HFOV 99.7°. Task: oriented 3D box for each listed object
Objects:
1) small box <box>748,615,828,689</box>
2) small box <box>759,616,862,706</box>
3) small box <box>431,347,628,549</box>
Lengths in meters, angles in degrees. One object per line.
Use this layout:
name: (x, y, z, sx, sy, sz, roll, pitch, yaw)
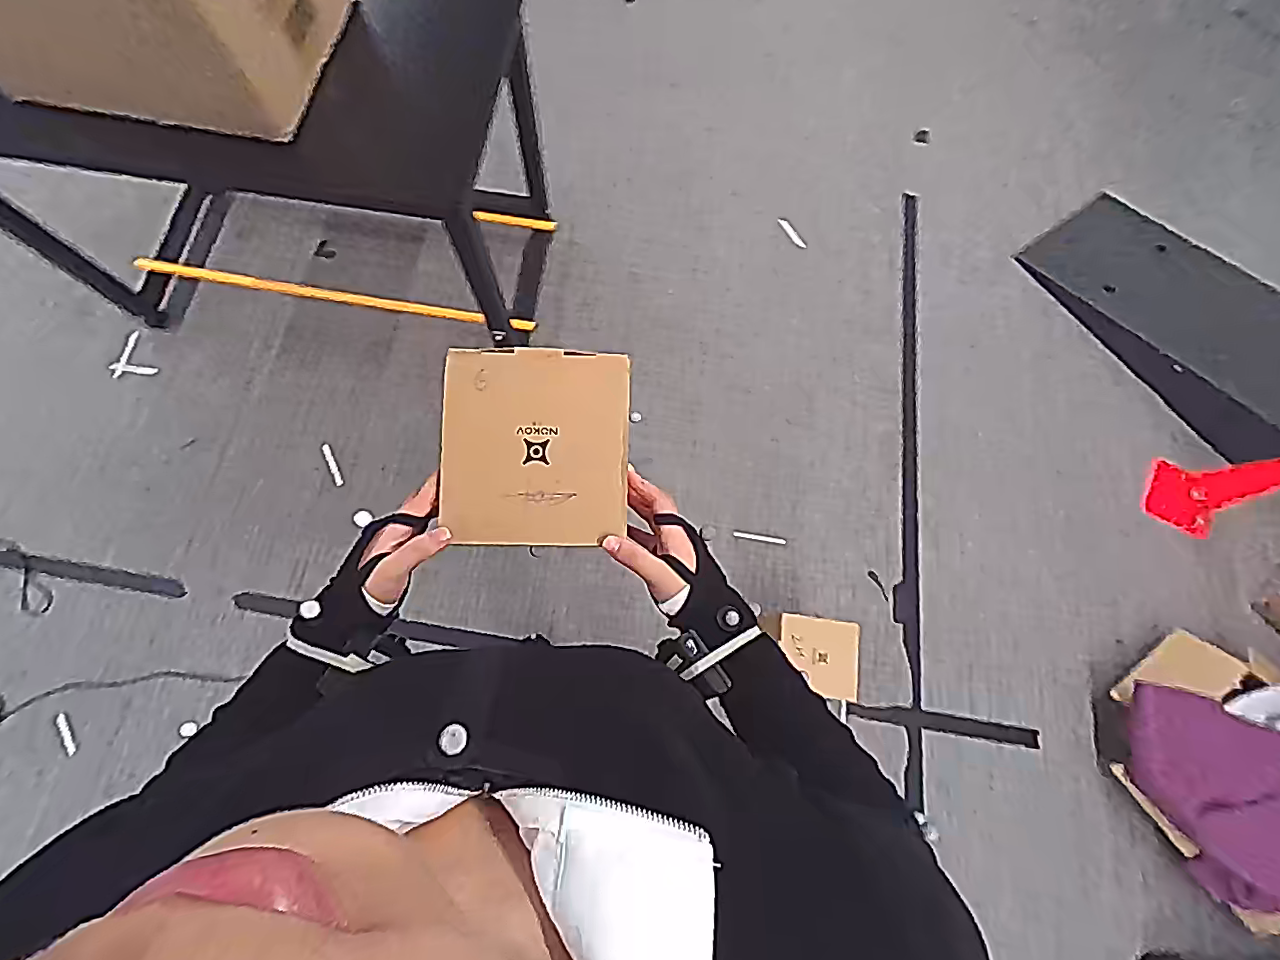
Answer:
small box: (0.381, 0.452, 1.404, 0.168, 0.176, 0.179, 5, 74, -1)
small box: (0.387, 0.411, 1.244, 0.179, 0.176, 0.168, 9, 74, 1)
small box: (-0.100, -0.021, 0.548, 0.168, 0.176, 0.179, 1, 86, -4)
